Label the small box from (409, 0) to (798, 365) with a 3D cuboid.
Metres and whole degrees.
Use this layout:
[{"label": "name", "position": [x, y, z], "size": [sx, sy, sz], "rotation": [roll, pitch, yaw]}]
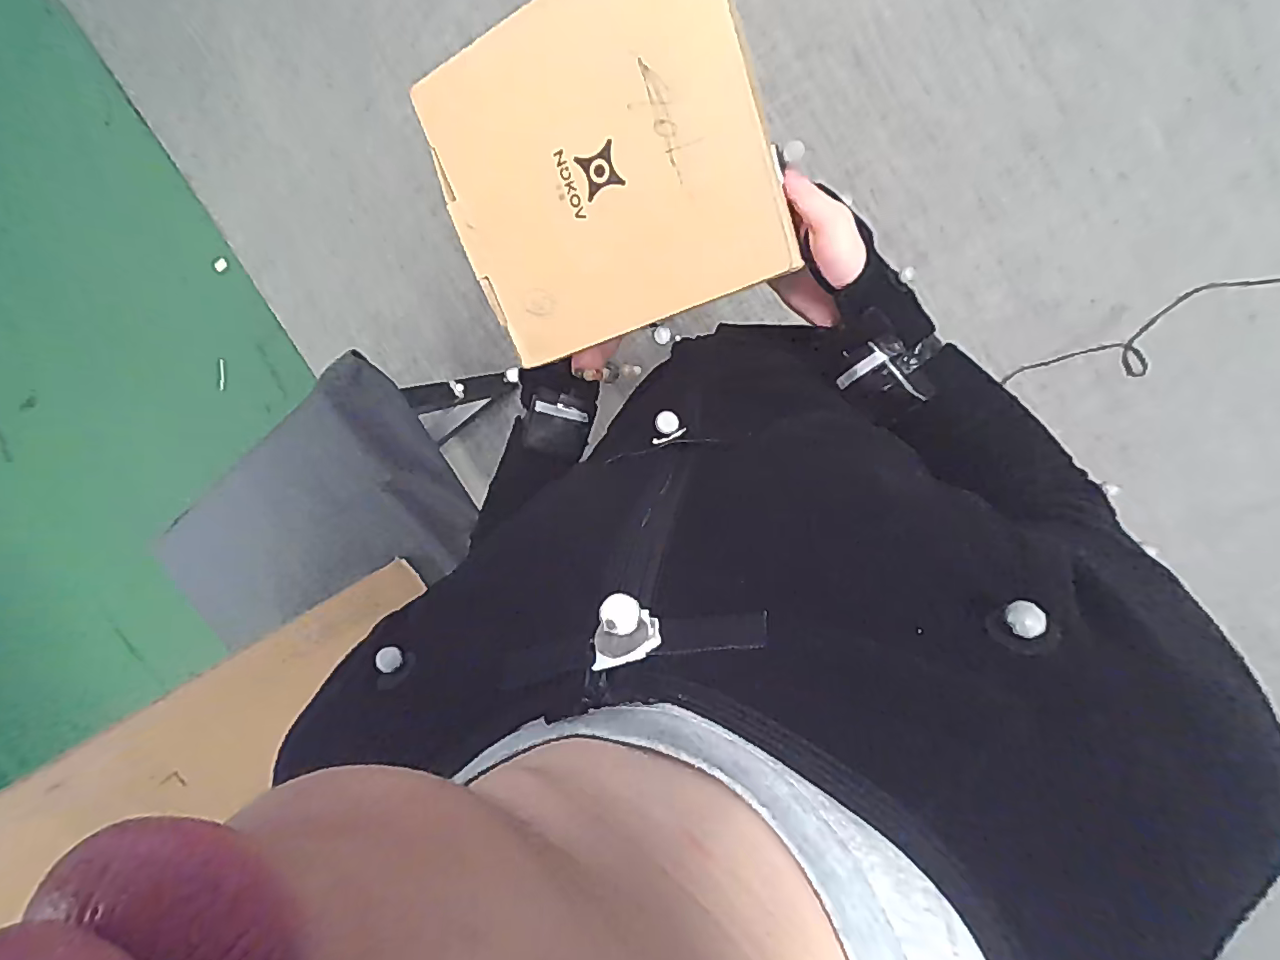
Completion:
[{"label": "small box", "position": [-0.003, -0.190, 0.359], "size": [0.179, 0.176, 0.168], "rotation": [-15, 106, 22]}]
